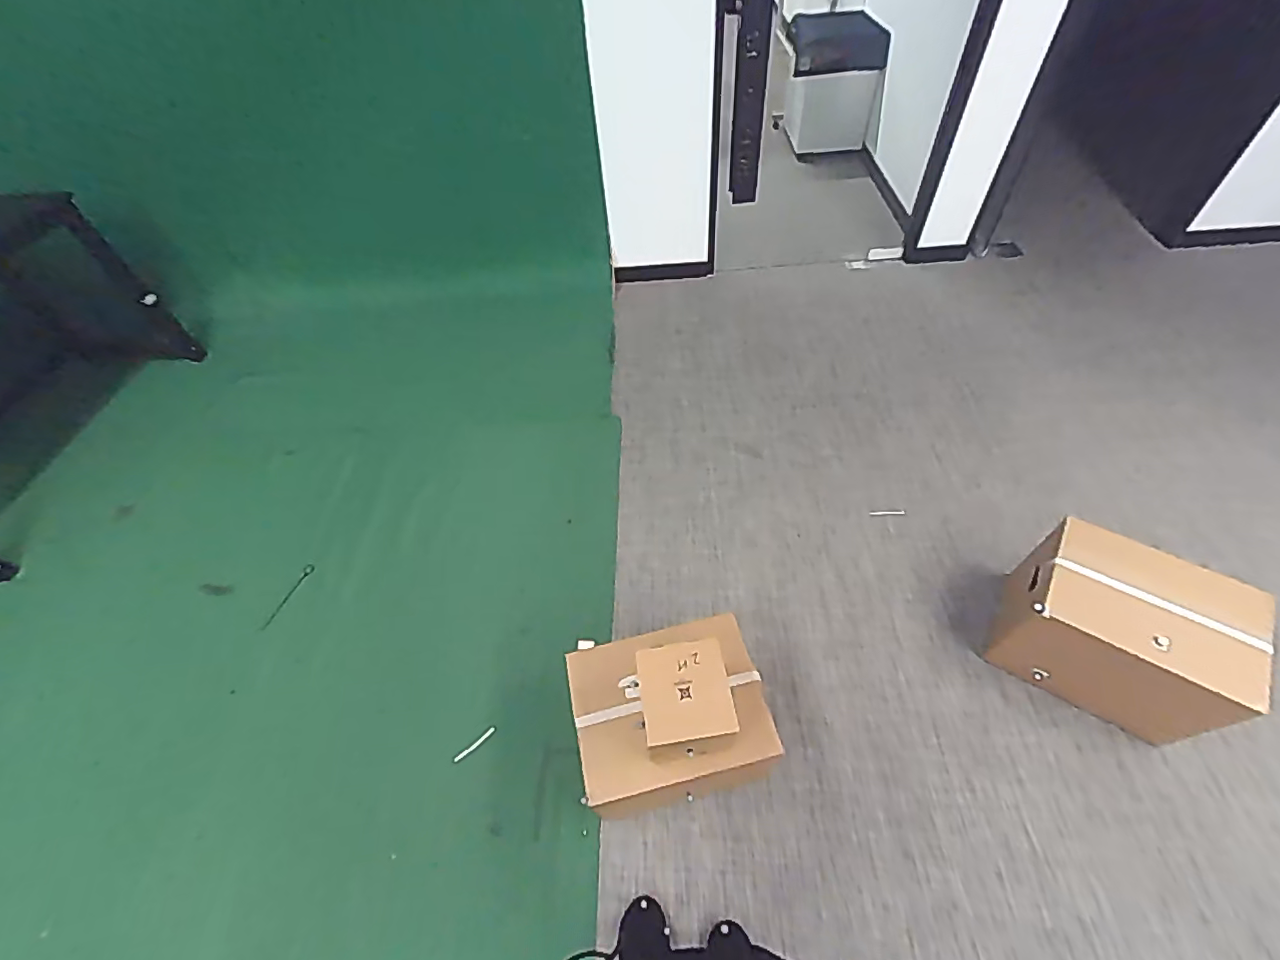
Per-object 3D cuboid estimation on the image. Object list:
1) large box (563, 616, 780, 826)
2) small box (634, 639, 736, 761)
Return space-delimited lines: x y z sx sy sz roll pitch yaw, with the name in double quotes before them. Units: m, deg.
"large box" 0.066 0.566 1.260 0.408 0.320 0.320 -13 51 -5
"small box" 0.083 0.432 1.048 0.168 0.176 0.179 -7 52 -3
